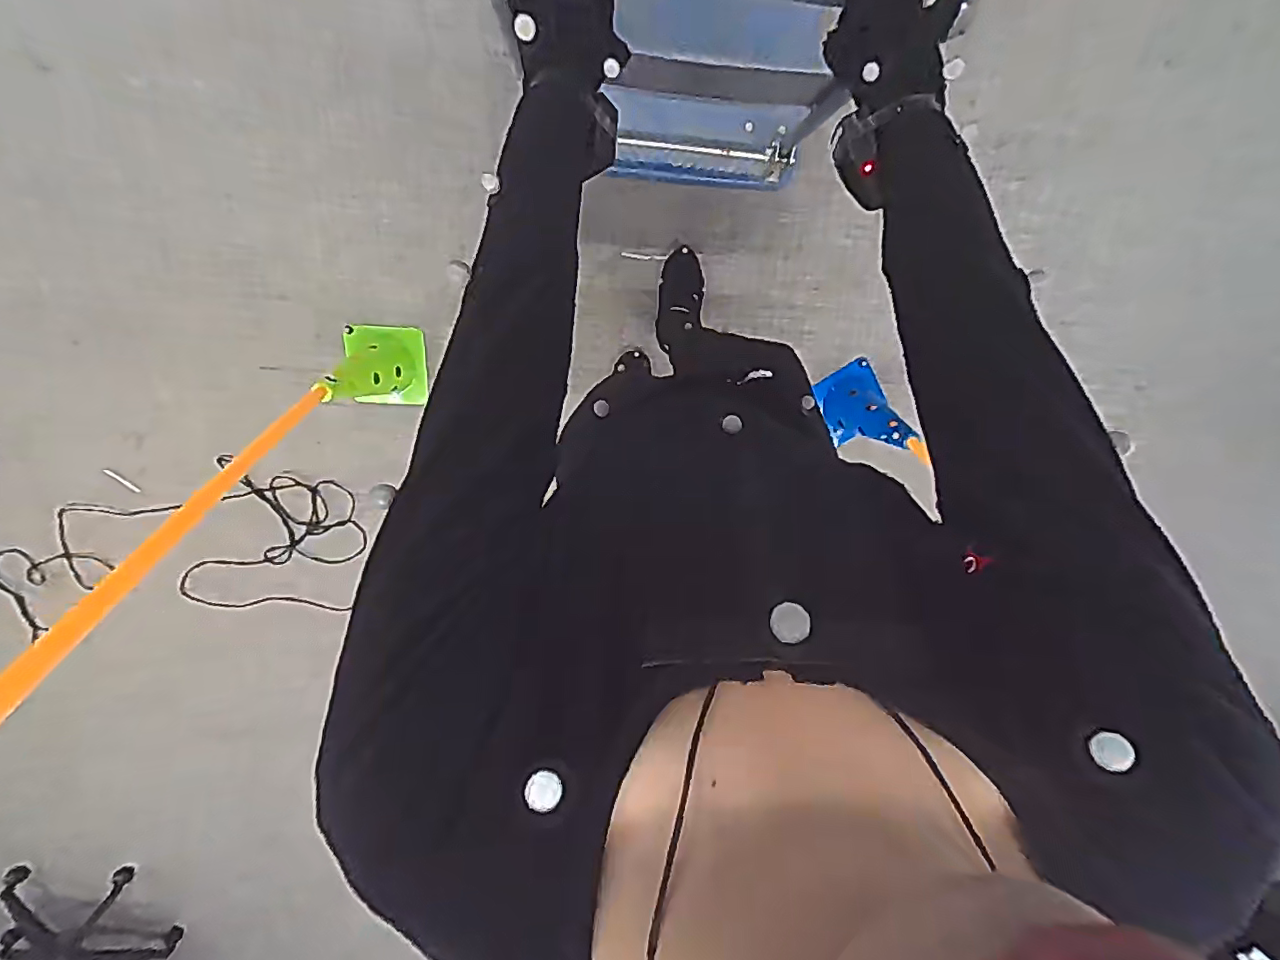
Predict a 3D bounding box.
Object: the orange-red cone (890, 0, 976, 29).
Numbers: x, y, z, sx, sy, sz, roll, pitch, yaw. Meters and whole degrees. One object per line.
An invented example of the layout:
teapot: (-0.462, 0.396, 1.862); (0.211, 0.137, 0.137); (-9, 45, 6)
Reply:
orange-red cone: (0.664, -1.057, 1.011); (0.198, 0.360, 0.199); (13, 109, -7)
